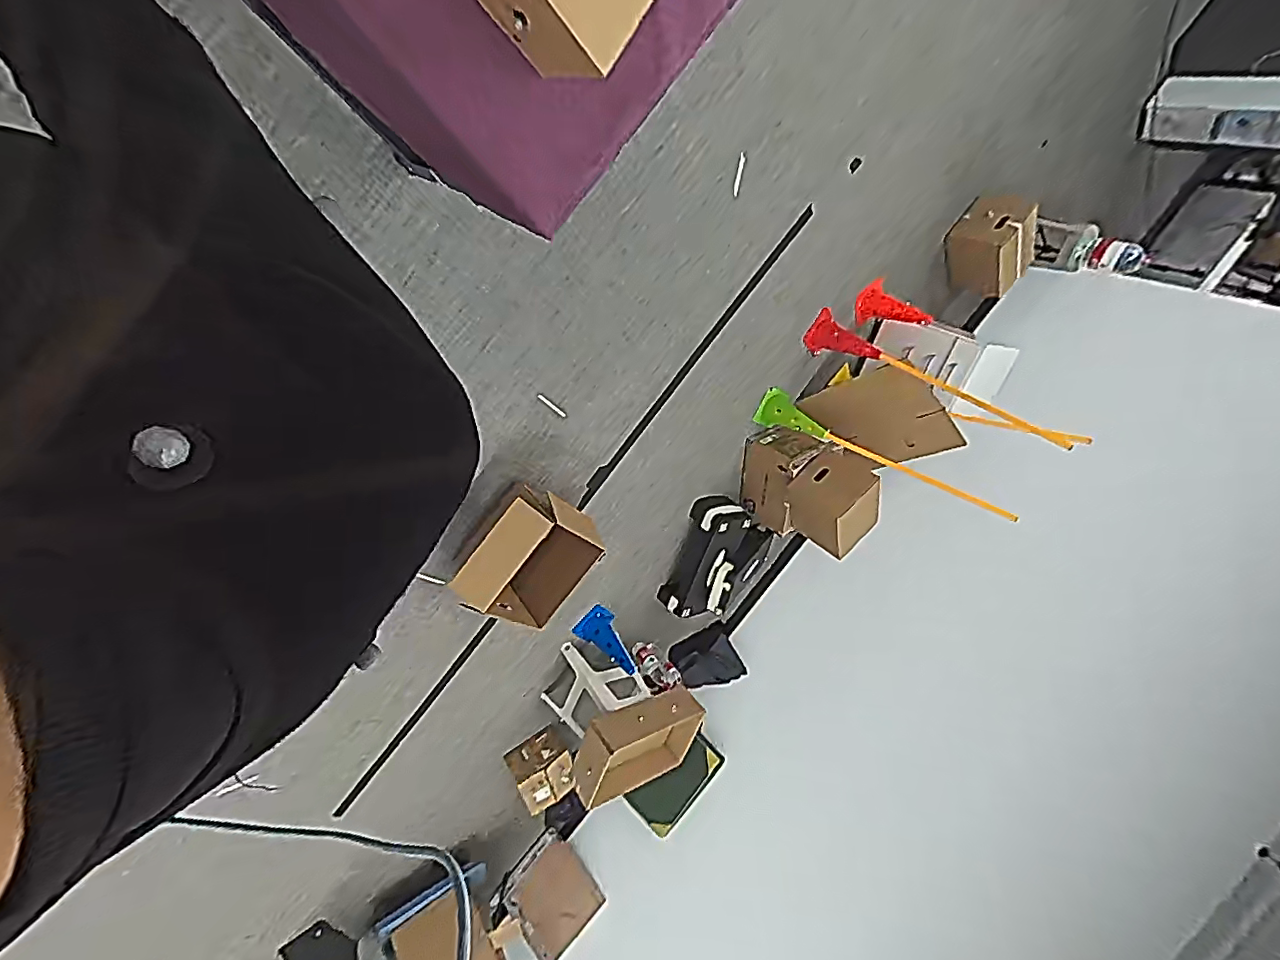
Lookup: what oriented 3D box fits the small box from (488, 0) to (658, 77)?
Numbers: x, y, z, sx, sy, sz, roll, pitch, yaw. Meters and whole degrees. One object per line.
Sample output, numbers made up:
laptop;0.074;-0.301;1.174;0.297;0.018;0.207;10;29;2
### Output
small box;-0.086;-0.628;0.647;0.168;0.176;0.179;26;100;-50
